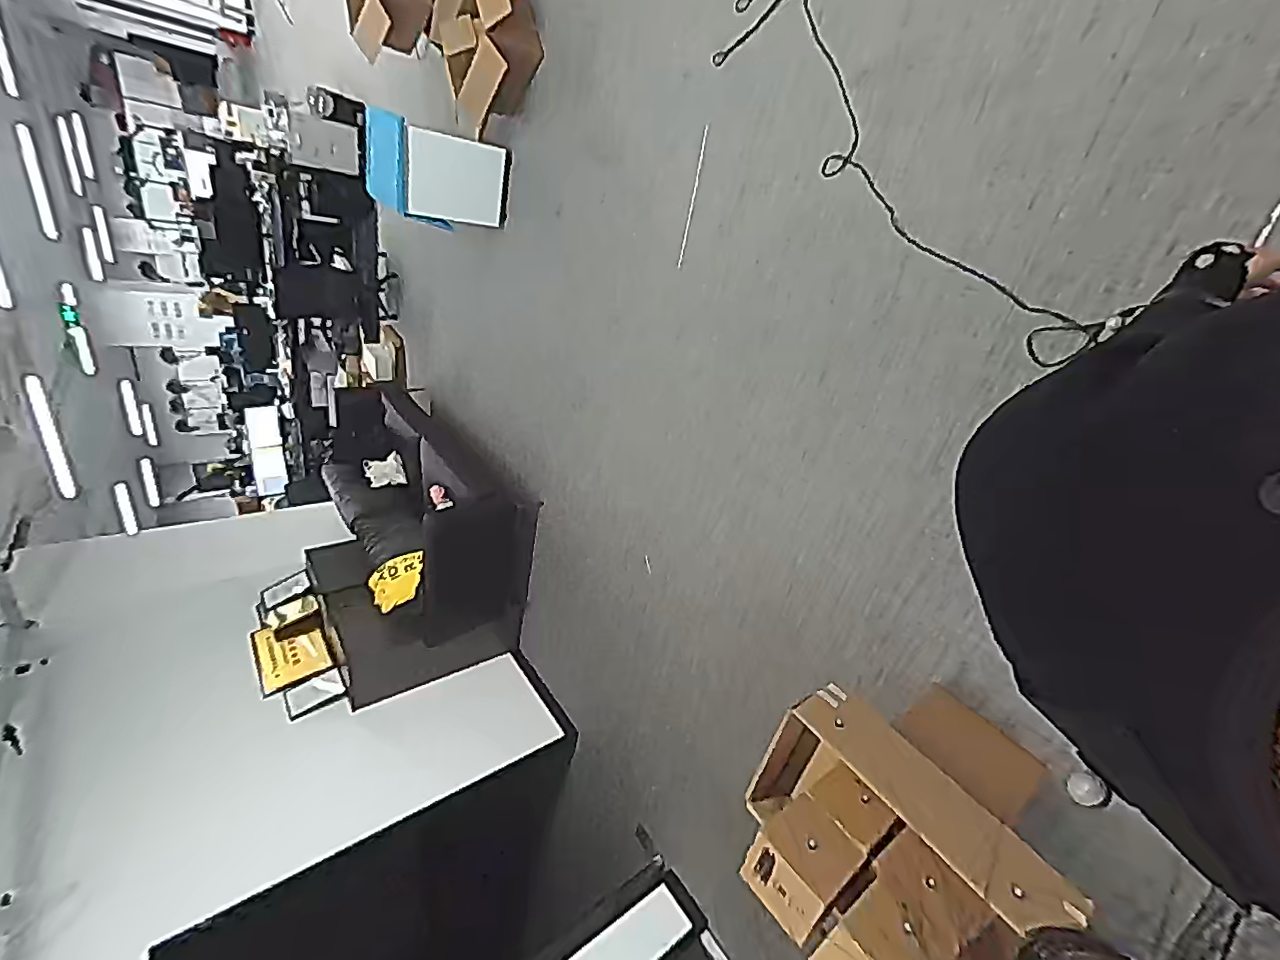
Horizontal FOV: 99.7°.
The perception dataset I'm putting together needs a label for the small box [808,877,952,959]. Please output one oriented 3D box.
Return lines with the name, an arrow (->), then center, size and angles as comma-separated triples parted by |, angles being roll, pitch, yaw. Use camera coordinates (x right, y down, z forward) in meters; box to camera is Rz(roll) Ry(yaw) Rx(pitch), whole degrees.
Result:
small box -> 0.469, 0.939, 1.058 | 0.168, 0.176, 0.179 | 40, 127, 40
